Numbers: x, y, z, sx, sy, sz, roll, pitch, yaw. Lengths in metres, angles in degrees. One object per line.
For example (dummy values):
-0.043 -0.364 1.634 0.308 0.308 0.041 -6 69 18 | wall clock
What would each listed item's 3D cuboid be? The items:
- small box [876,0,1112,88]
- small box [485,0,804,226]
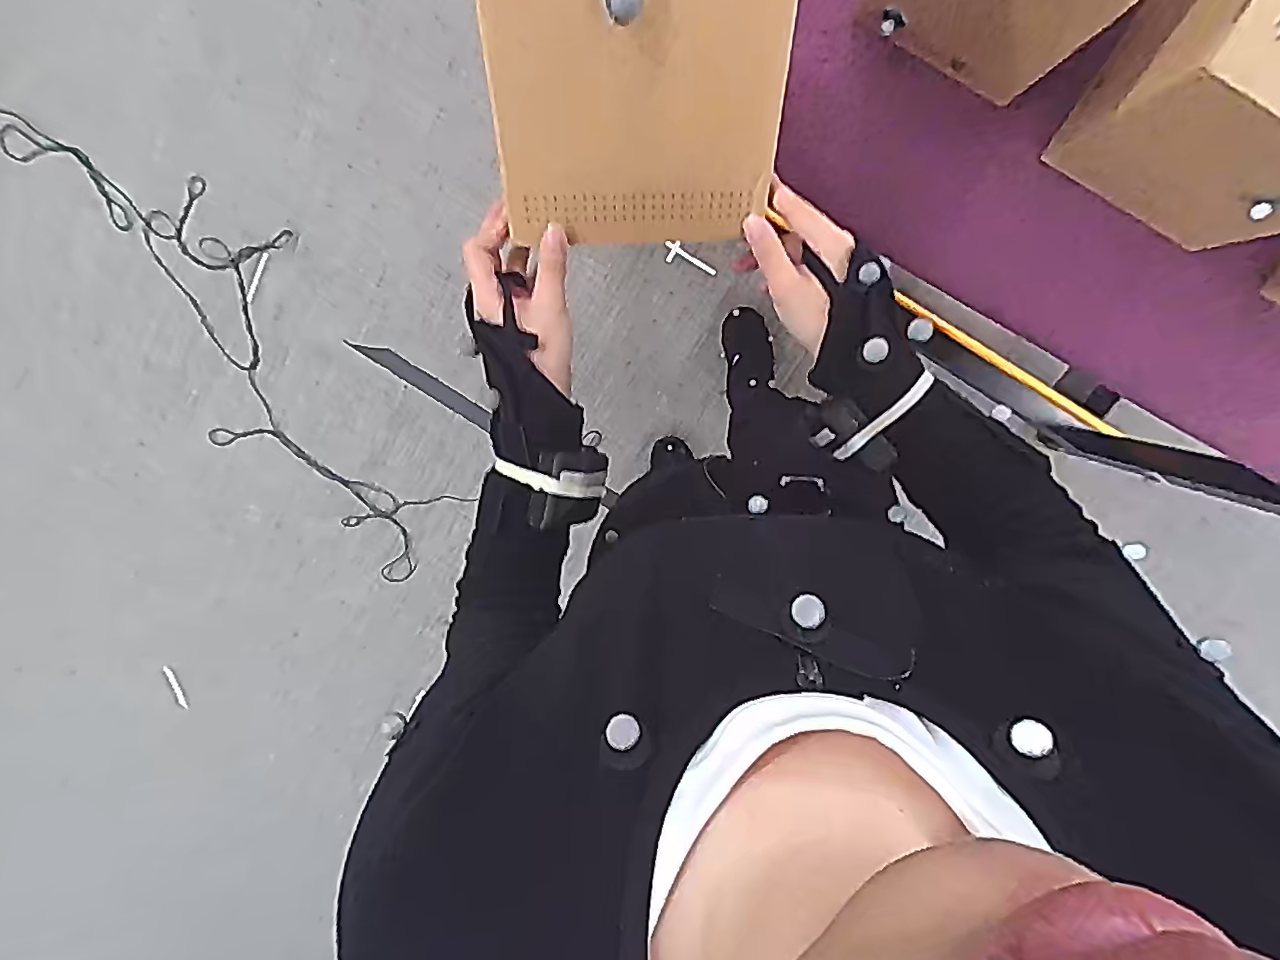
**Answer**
0.301 -0.446 0.401 0.168 0.176 0.179 29 104 -2 | small box
0.000 -0.283 0.366 0.179 0.168 0.176 -3 132 -3 | small box
